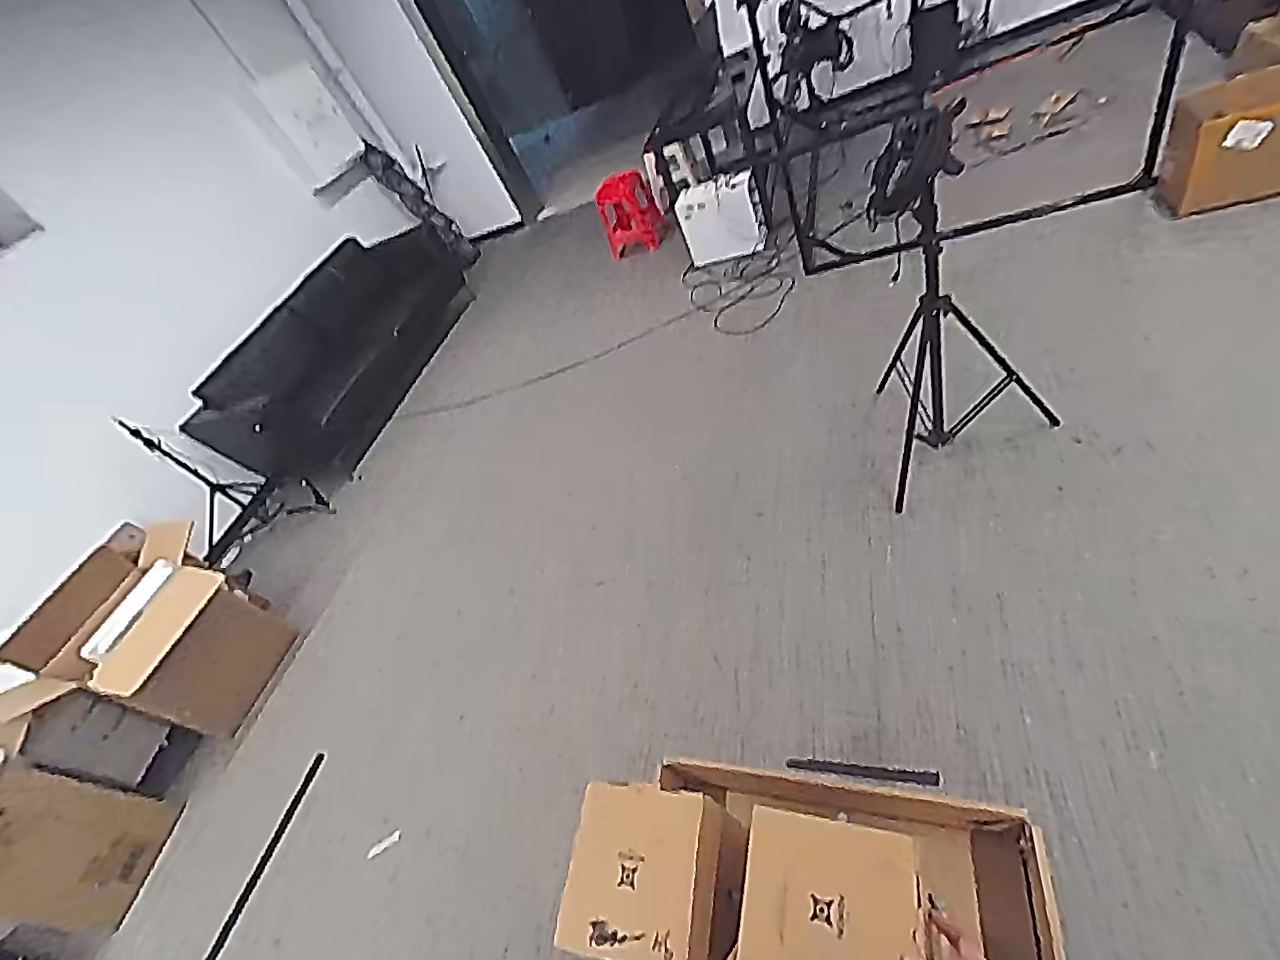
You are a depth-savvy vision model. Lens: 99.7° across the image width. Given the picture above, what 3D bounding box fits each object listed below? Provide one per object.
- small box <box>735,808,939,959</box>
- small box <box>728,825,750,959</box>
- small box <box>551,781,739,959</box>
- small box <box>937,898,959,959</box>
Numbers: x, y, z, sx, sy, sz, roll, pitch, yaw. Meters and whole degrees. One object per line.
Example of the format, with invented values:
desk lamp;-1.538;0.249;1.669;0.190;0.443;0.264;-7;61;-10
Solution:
small box;0.222;0.485;0.589;0.179;0.176;0.168;-8;46;31
small box;0.093;0.613;0.788;0.168;0.176;0.179;-8;47;26
small box;0.020;0.508;0.682;0.168;0.176;0.179;-9;45;27
small box;0.365;0.704;0.785;0.168;0.176;0.179;-7;48;32
